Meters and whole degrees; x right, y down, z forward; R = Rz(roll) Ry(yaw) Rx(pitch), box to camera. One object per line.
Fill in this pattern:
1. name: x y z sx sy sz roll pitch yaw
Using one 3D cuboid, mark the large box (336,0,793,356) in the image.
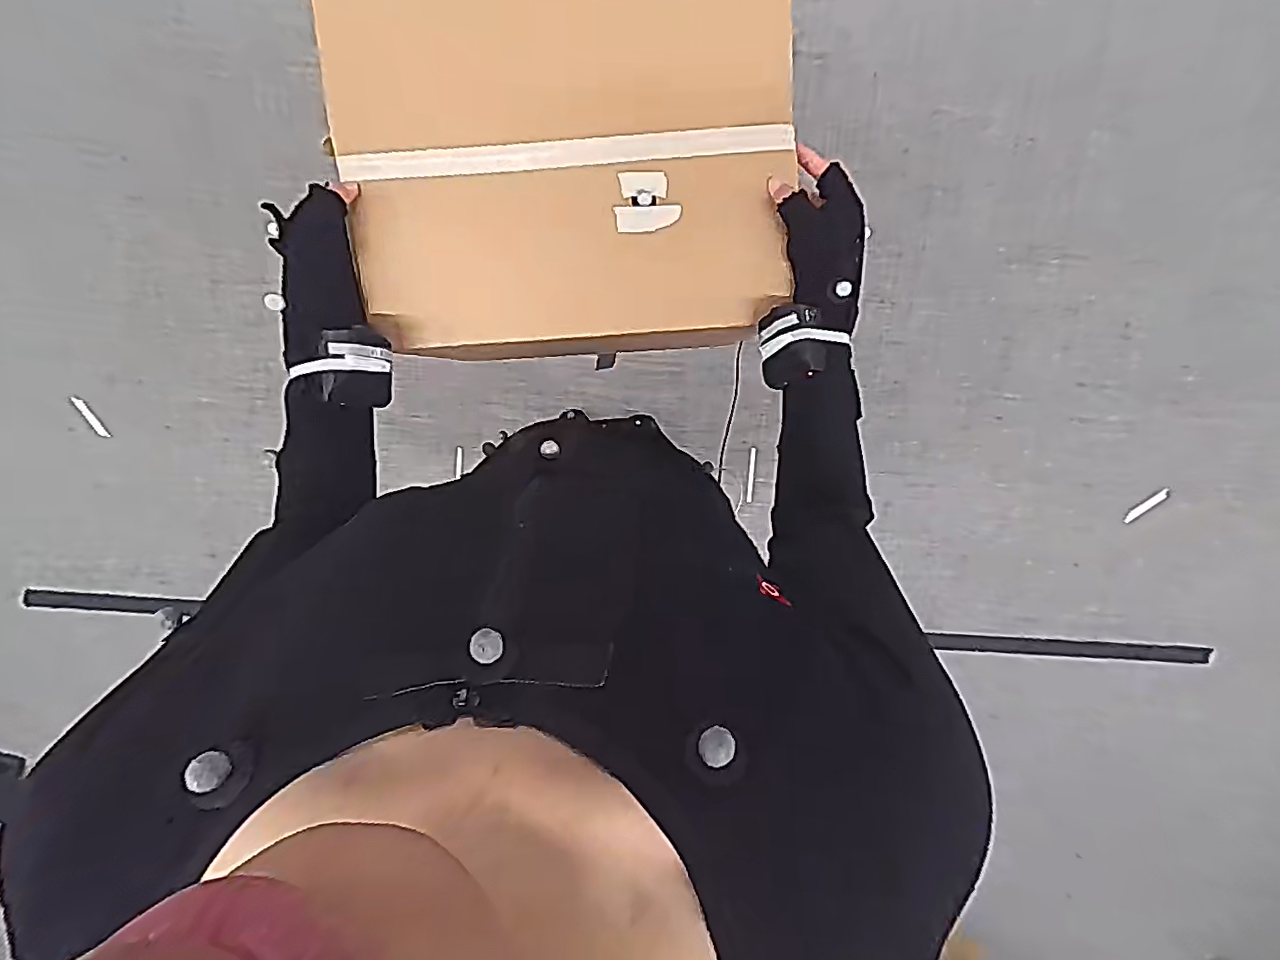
1. large box: -0.064 -0.326 0.646 0.408 0.320 0.320 -4 101 -1
